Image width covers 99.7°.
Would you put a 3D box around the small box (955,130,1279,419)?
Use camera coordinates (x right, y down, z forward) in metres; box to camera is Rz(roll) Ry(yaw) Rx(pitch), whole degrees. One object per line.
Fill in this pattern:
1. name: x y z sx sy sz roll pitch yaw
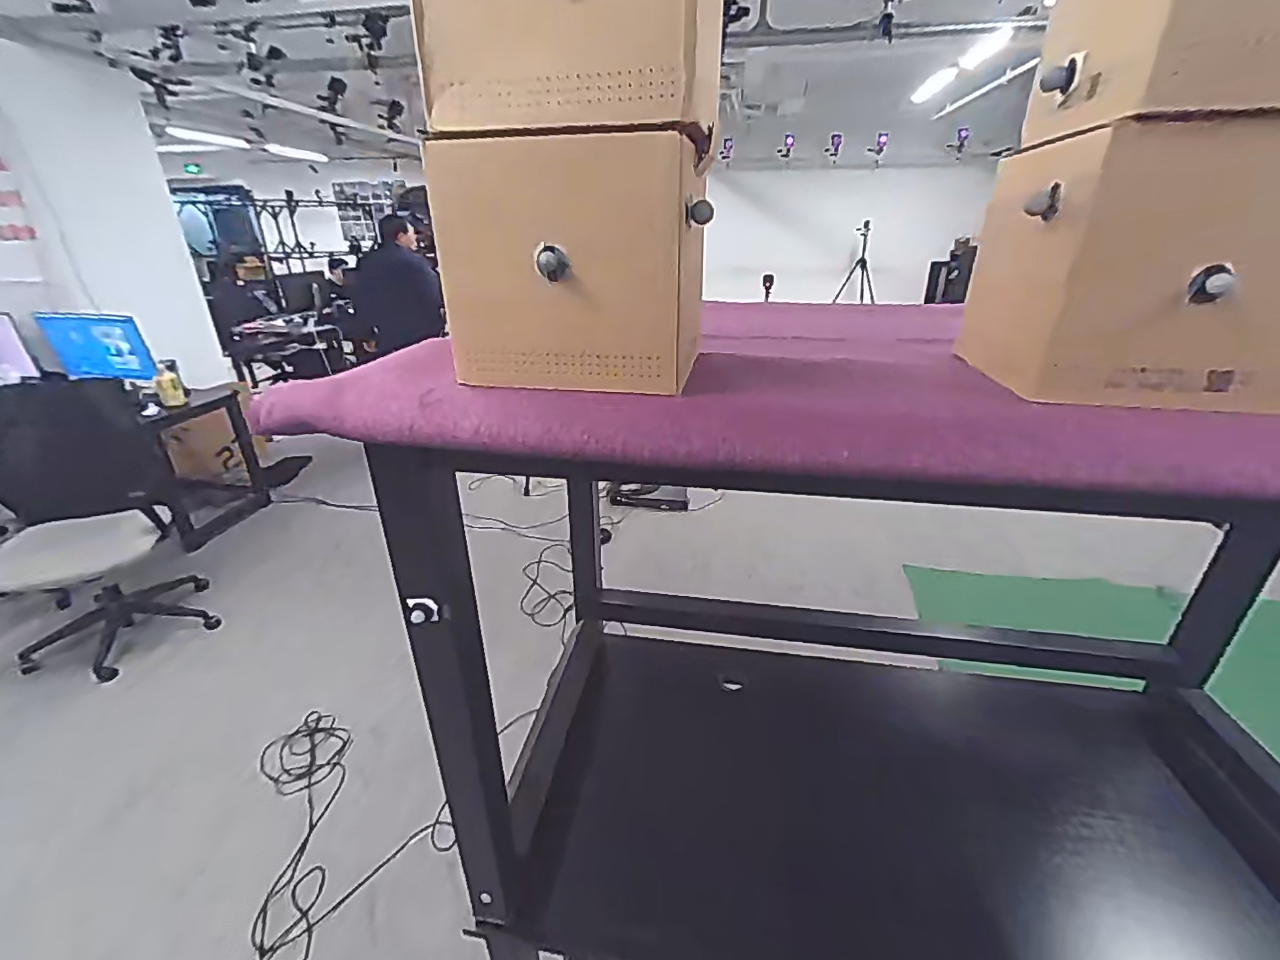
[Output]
1. small box: 0.364 -0.151 0.402 0.168 0.176 0.179 6 26 11

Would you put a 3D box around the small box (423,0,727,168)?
1. small box: -0.034 -0.318 0.370 0.179 0.176 0.168 4 26 11

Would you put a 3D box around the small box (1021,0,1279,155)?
1. small box: 0.372 -0.292 0.321 0.179 0.176 0.168 4 24 11
